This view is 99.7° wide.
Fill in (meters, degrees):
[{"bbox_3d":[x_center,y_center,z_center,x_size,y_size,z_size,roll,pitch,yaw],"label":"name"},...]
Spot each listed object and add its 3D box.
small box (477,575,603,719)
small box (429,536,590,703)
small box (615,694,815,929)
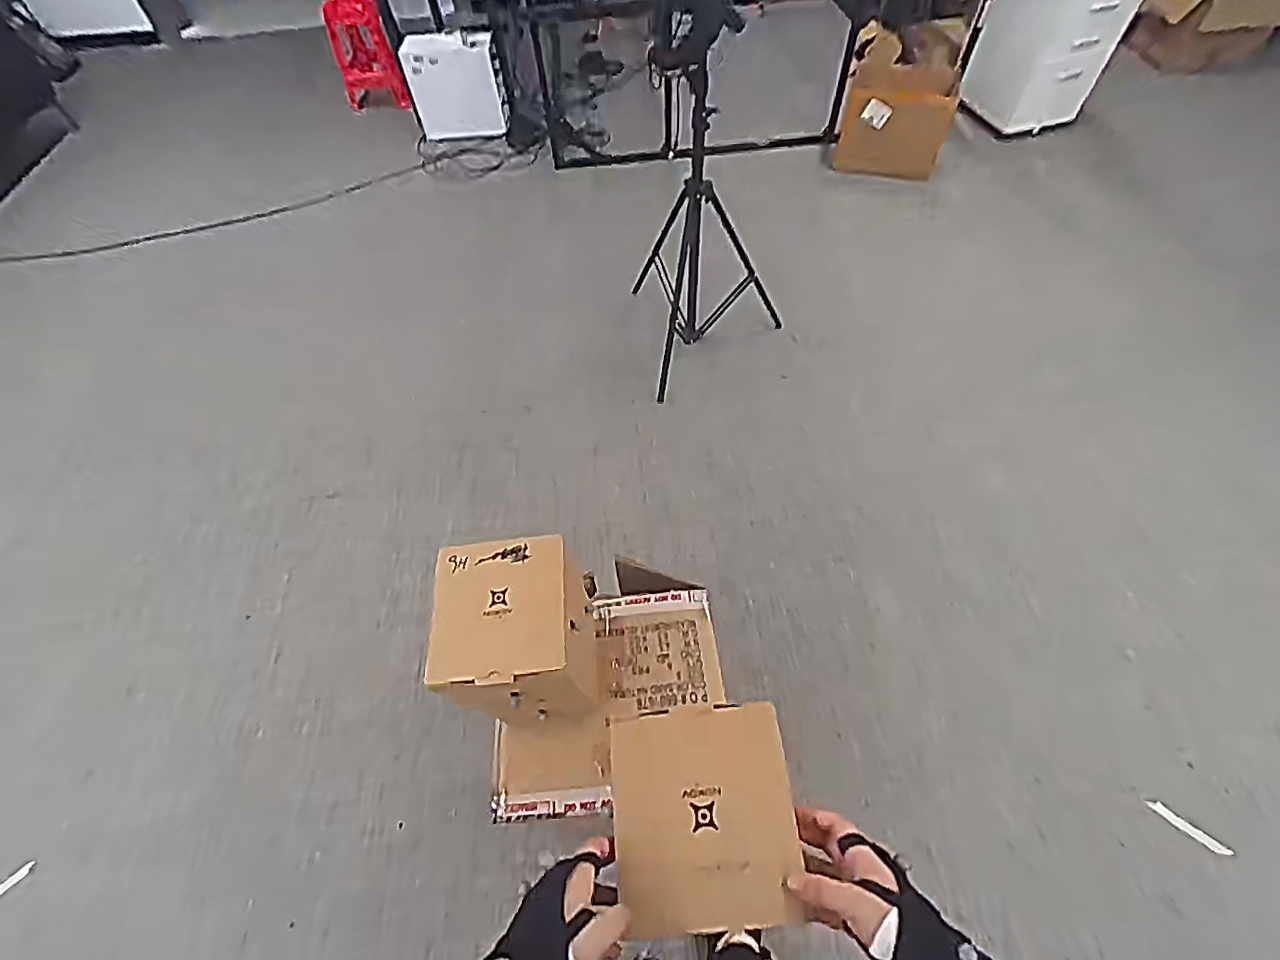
[{"bbox_3d":[-0.157,0.273,0.874,0.168,0.176,0.179,-9,59,0],"label":"small box"},{"bbox_3d":[-0.163,0.196,0.728,0.168,0.176,0.179,-7,59,1],"label":"small box"},{"bbox_3d":[0.066,0.337,0.573,0.168,0.176,0.179,-7,63,0],"label":"small box"}]
